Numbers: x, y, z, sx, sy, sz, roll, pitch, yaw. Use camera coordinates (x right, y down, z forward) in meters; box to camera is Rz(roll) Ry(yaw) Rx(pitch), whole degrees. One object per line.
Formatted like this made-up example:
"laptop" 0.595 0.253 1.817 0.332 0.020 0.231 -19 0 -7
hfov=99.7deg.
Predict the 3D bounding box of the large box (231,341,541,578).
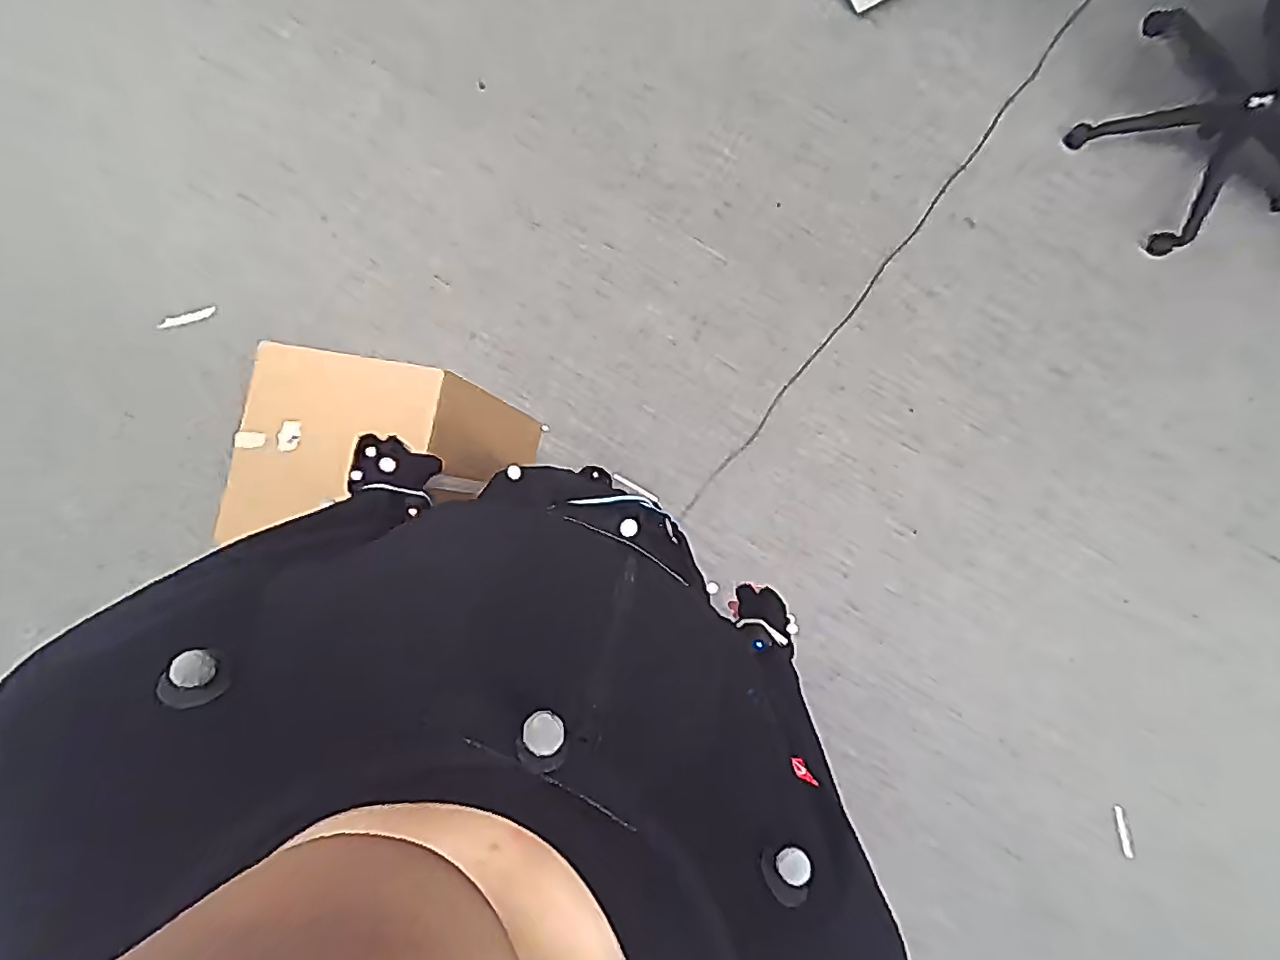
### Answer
"large box" -0.421 -0.027 0.990 0.320 0.408 0.320 14 88 10
